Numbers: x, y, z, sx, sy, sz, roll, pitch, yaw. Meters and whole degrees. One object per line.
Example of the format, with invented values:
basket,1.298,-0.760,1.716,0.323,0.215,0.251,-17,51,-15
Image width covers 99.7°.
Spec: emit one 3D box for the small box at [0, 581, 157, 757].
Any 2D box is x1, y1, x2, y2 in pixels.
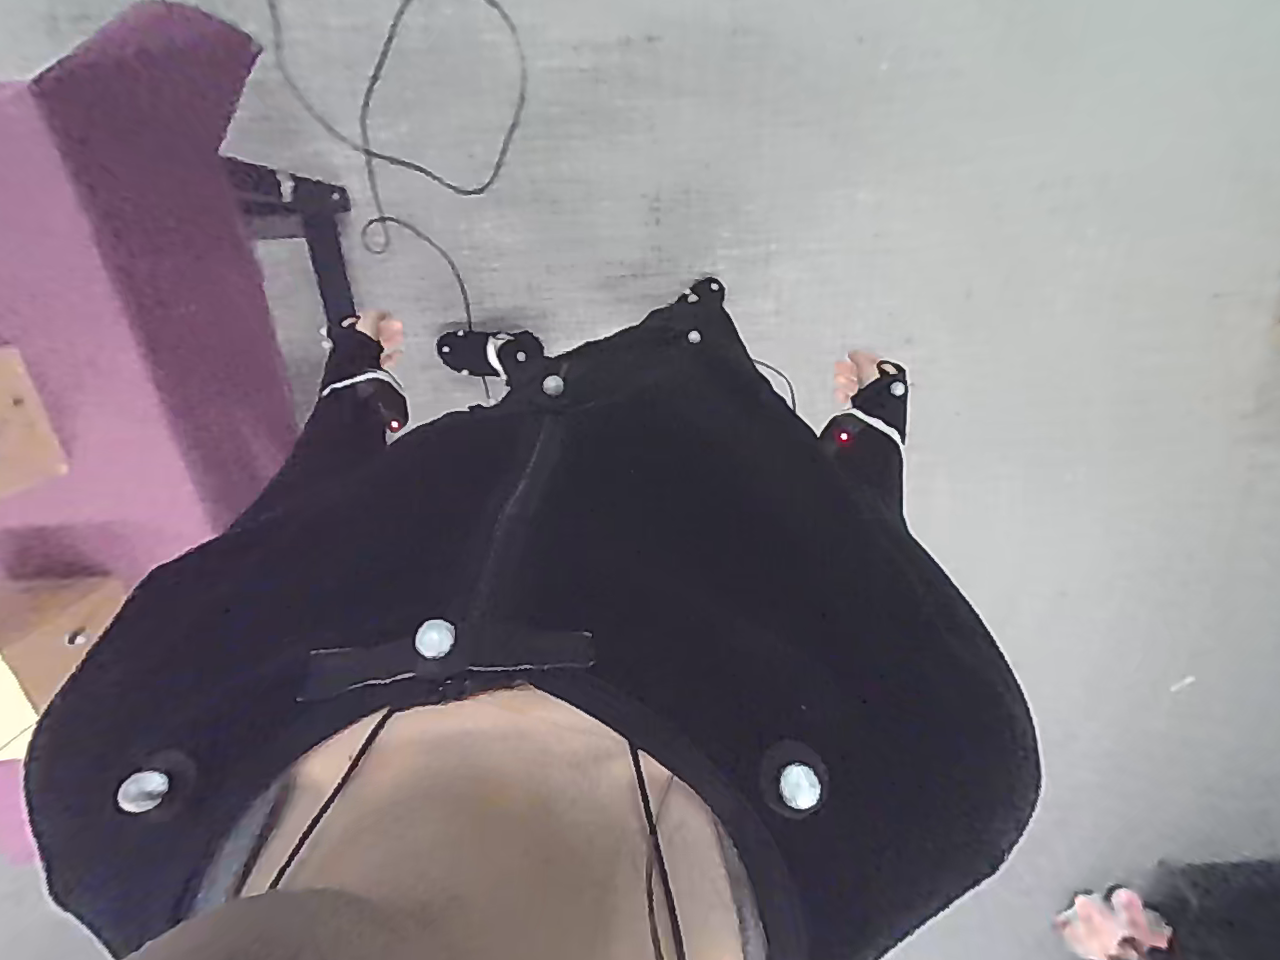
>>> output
small box,-0.840,0.252,0.749,0.168,0.176,0.179,-2,112,0
